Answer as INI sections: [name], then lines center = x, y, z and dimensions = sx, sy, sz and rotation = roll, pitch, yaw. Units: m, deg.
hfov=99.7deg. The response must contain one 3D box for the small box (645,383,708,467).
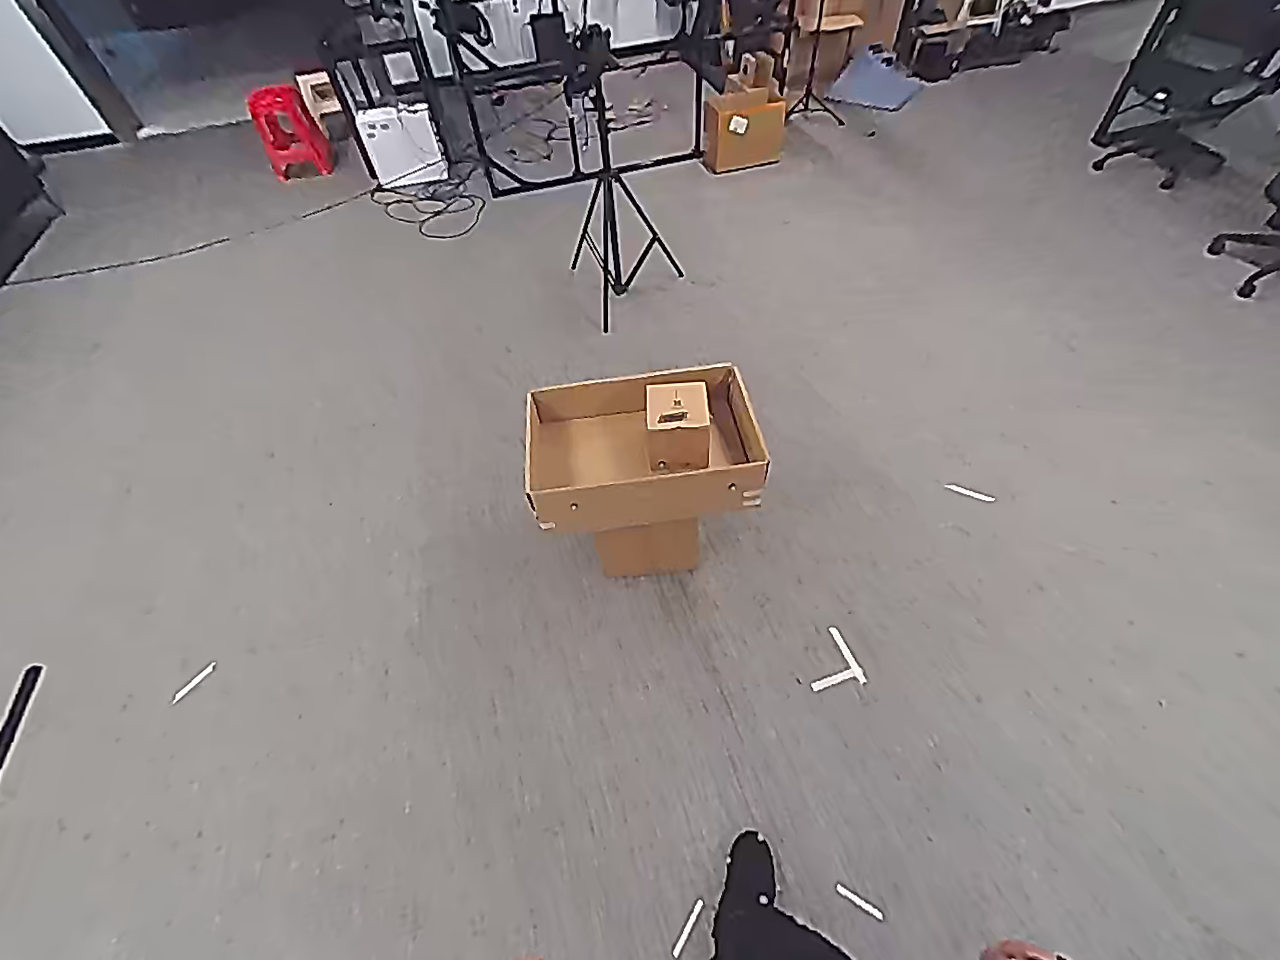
[small box]
center = 0.102, -0.147, 1.505
dimensions = 0.168, 0.176, 0.179
rotation = -3, 51, 3
